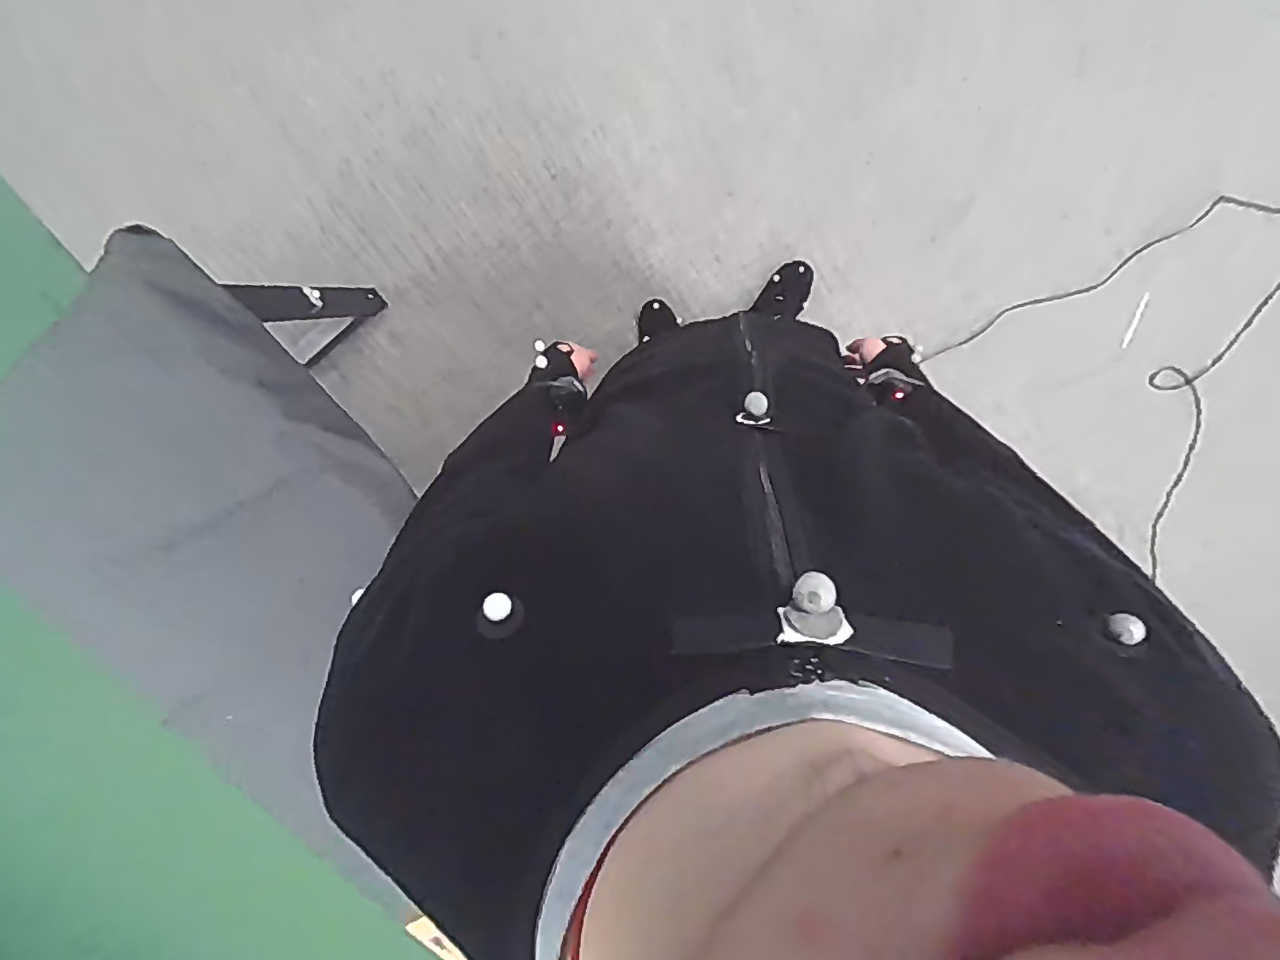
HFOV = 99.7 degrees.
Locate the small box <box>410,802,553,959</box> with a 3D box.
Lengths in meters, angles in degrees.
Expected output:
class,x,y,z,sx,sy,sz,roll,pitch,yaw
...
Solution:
class,x,y,z,sx,sy,sz,roll,pitch,yaw
small box,-0.276,0.742,0.995,0.179,0.176,0.168,-37,103,11
